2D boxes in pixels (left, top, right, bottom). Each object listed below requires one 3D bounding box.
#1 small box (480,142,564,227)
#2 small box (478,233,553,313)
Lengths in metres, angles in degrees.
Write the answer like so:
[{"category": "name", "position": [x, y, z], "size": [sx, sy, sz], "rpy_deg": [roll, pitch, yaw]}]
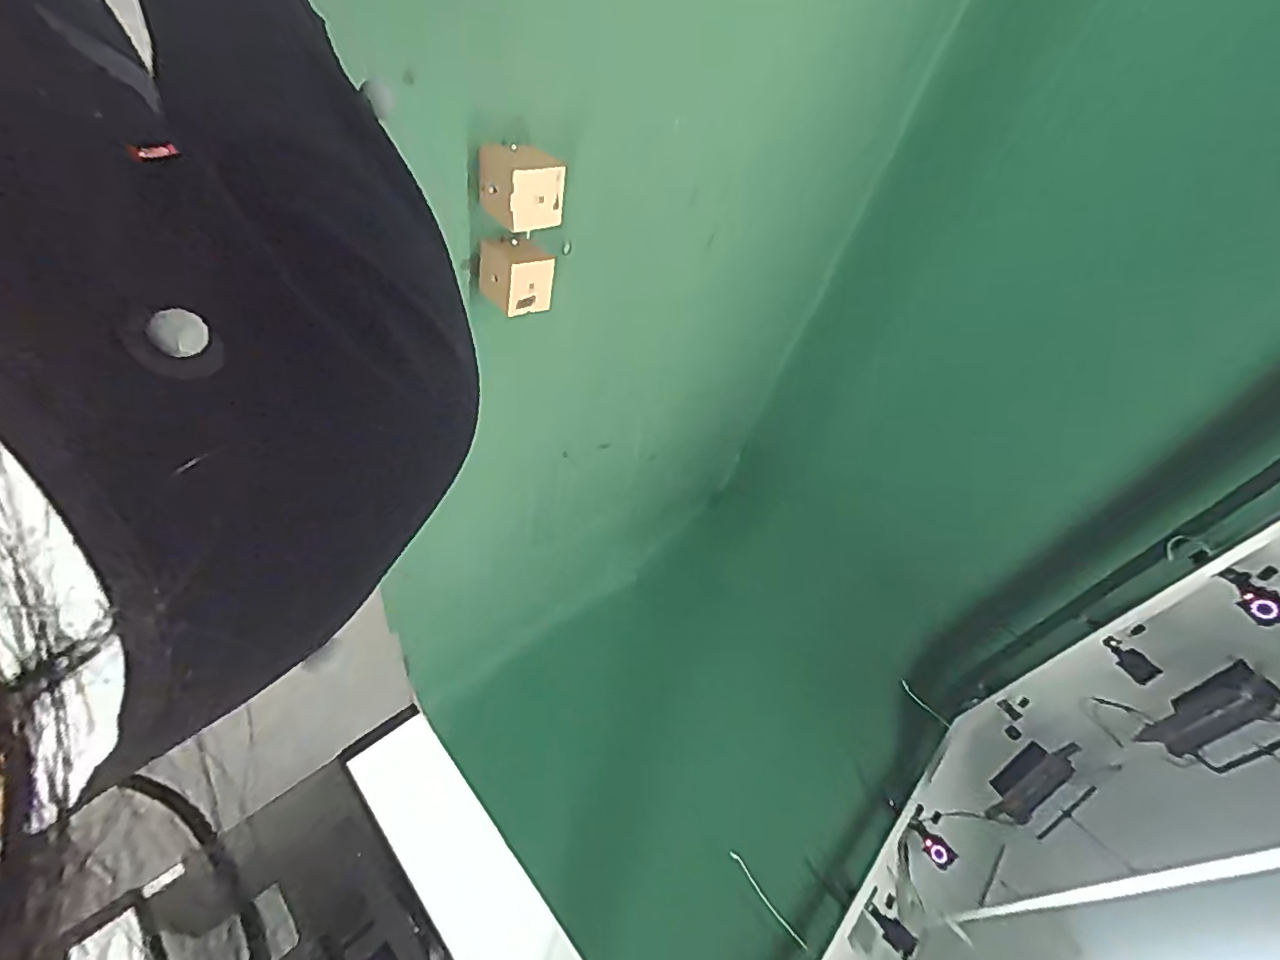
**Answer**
[{"category": "small box", "position": [-0.343, -0.849, 1.547], "size": [0.179, 0.176, 0.168], "rpy_deg": [-28, 150, -35]}, {"category": "small box", "position": [-0.405, -0.666, 1.733], "size": [0.168, 0.176, 0.179], "rpy_deg": [-27, 149, -39]}]
